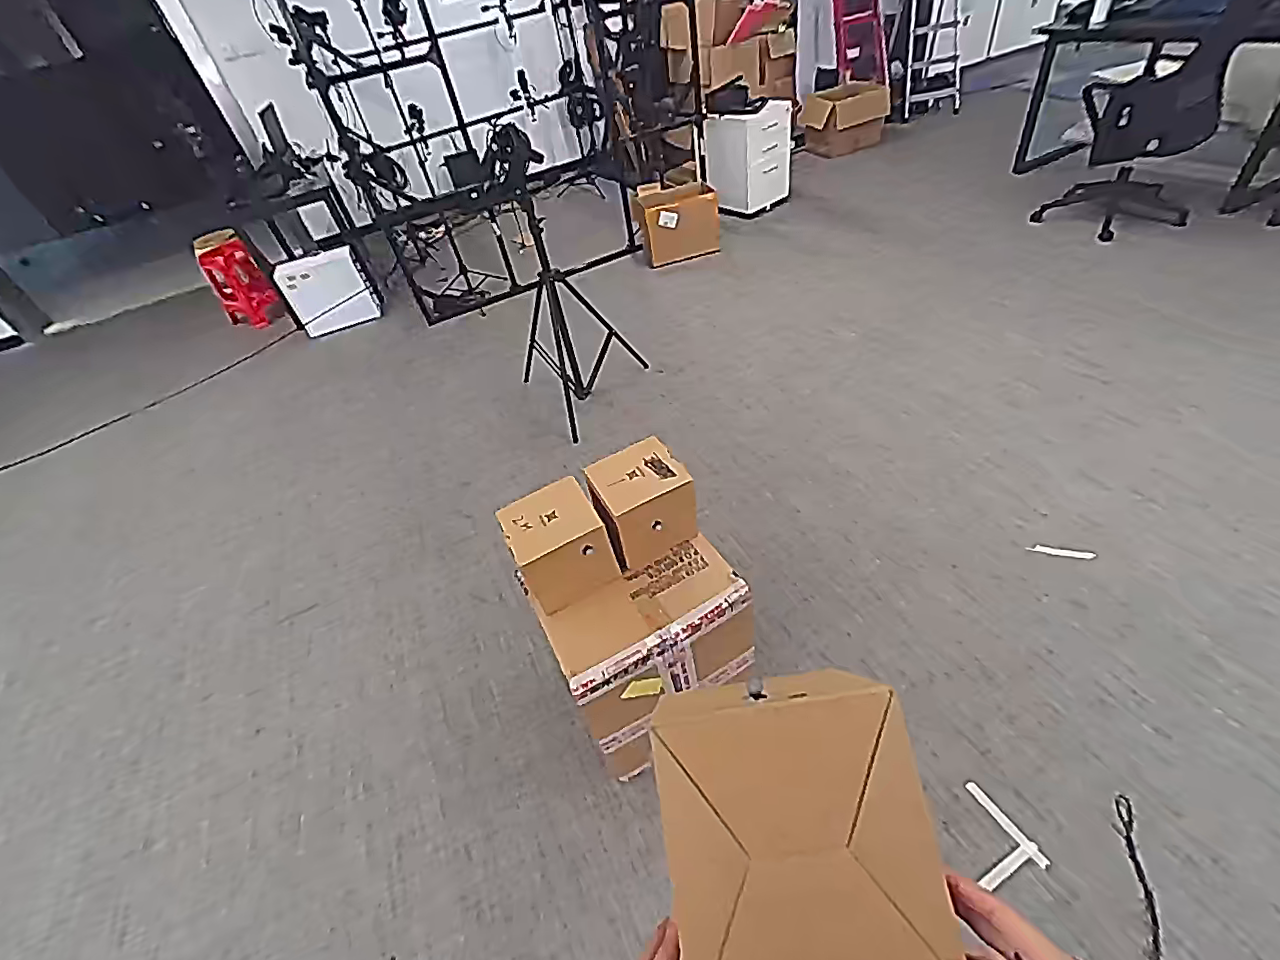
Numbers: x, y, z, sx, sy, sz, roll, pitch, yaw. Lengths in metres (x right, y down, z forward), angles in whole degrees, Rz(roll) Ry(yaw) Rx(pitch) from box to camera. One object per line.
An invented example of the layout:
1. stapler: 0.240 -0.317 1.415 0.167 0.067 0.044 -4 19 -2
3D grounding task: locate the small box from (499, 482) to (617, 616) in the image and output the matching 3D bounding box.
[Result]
1. small box: -0.159 0.141 1.102 0.179 0.176 0.168 -27 45 -11

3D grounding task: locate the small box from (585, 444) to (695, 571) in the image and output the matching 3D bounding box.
1. small box: 0.006 0.058 1.150 0.179 0.176 0.168 -25 45 -14
